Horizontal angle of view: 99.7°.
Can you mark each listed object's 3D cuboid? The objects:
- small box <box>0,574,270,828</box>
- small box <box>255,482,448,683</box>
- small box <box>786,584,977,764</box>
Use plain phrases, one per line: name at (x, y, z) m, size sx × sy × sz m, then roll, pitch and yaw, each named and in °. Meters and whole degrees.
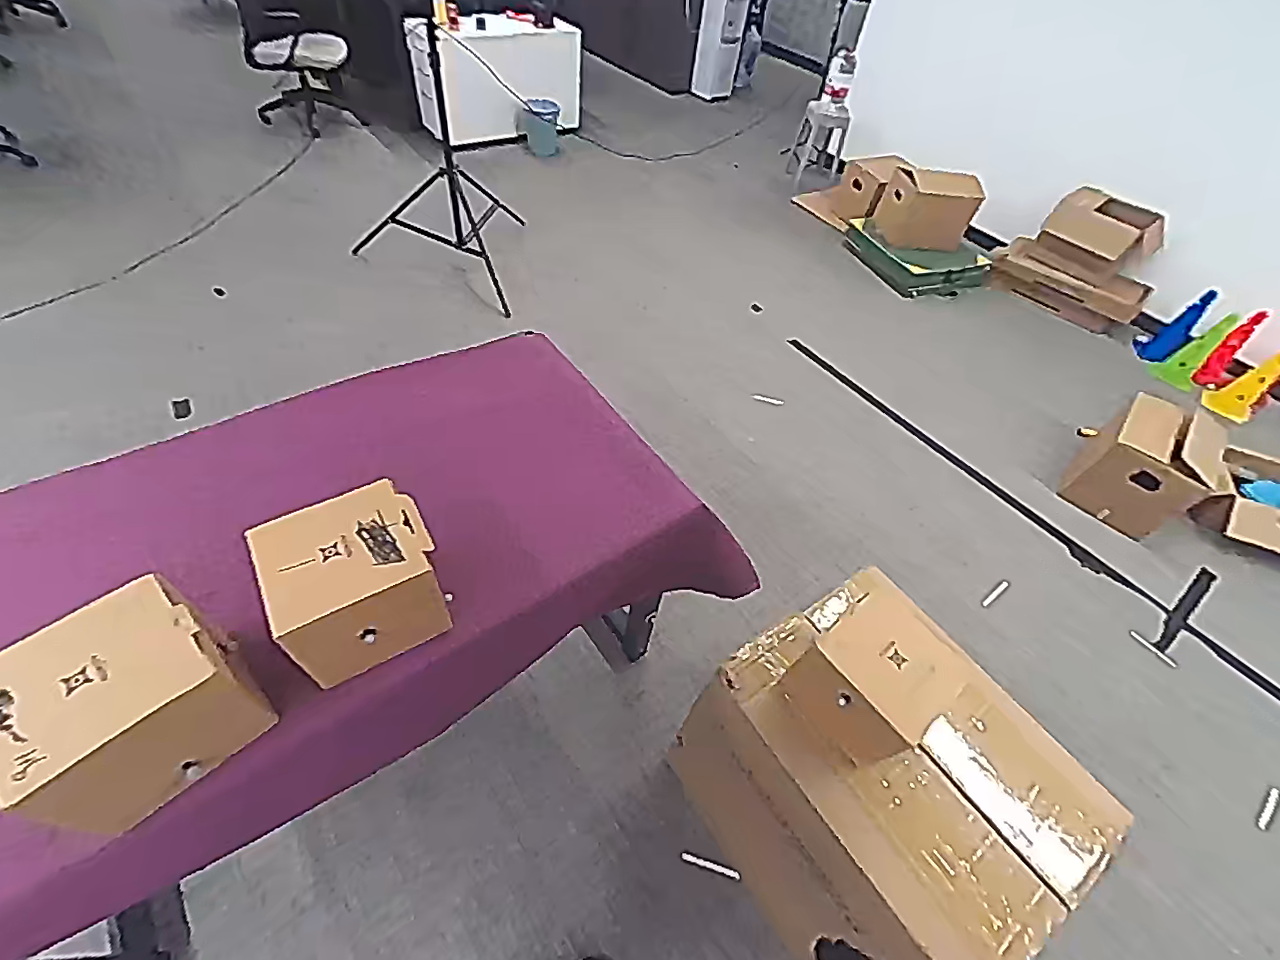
small box at (-0.557, 0.248, 0.610) m, size 0.168 × 0.176 × 0.179 m, roll 37°, pitch 54°, yaw 23°
small box at (-0.373, 0.138, 0.727) m, size 0.179 × 0.176 × 0.168 m, roll -24°, pitch 56°, yaw -24°
small box at (0.355, 0.300, 0.830) m, size 0.168 × 0.176 × 0.179 m, roll -30°, pitch 62°, yaw -26°
